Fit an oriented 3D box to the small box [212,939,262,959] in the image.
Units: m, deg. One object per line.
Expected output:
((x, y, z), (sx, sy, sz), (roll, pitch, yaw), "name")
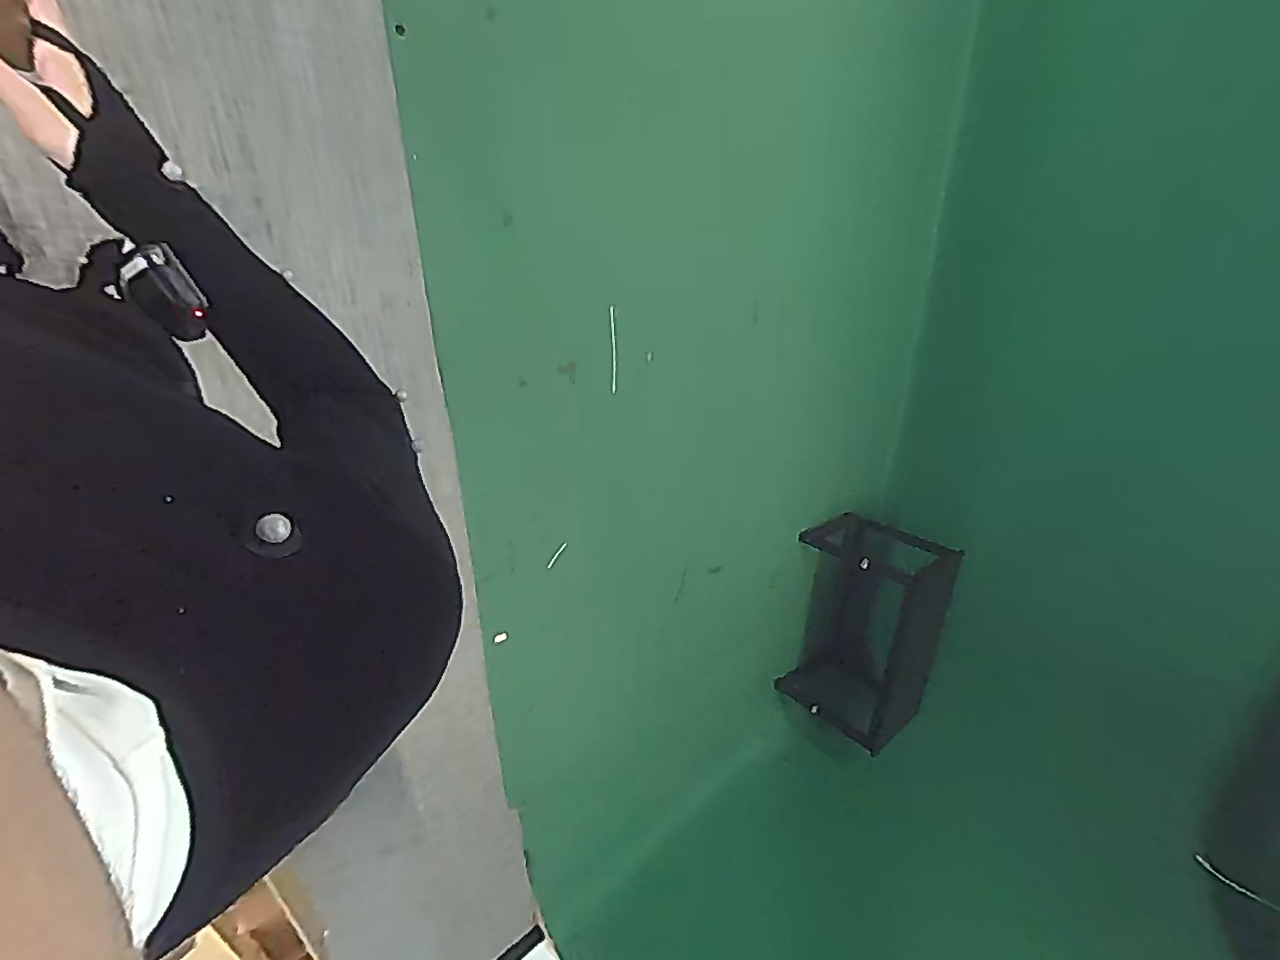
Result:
((-0.965, 1.226, 1.244), (0.179, 0.176, 0.168), (-26, 125, -33), "small box")
